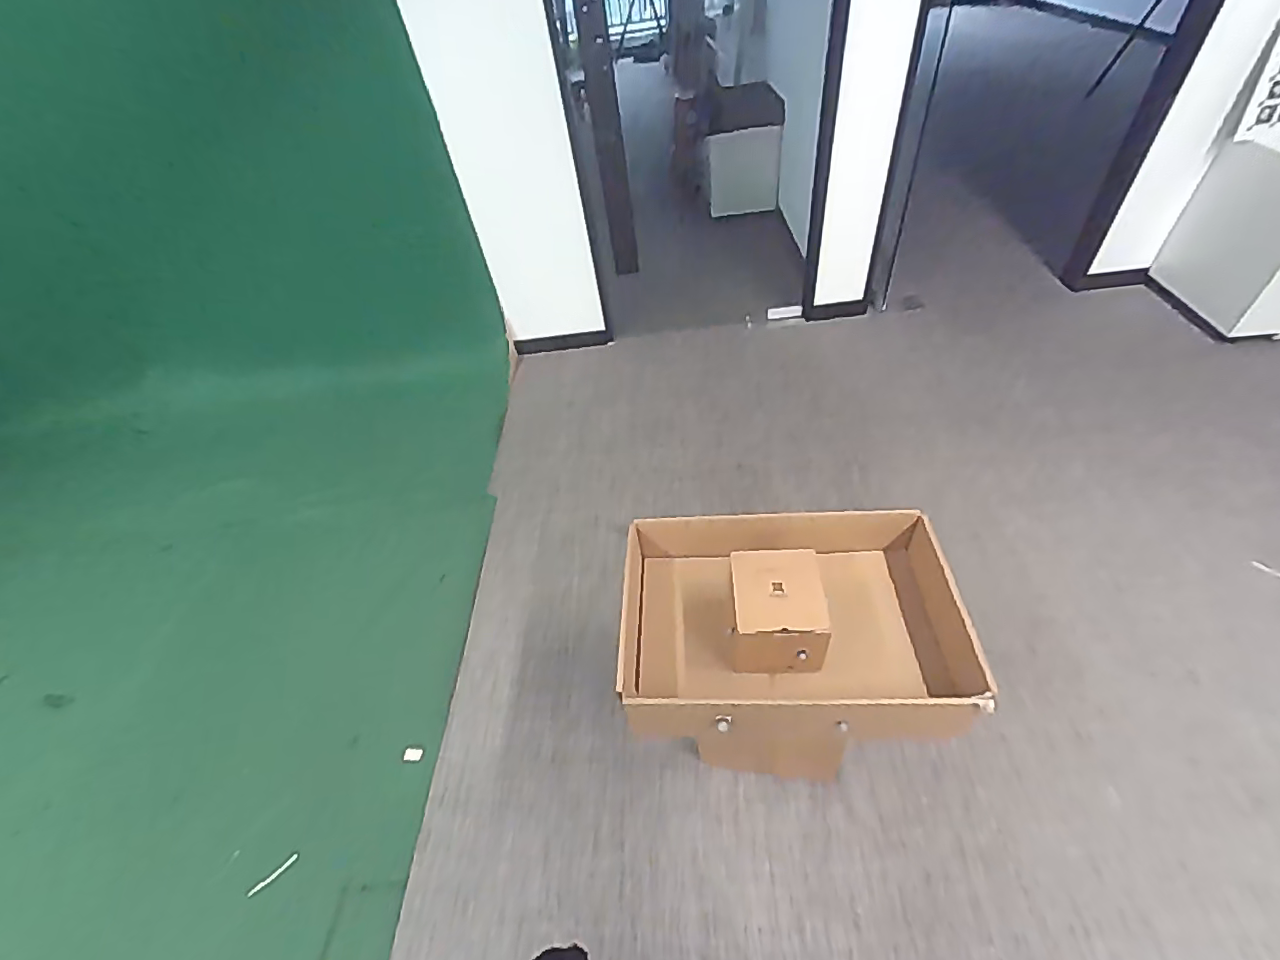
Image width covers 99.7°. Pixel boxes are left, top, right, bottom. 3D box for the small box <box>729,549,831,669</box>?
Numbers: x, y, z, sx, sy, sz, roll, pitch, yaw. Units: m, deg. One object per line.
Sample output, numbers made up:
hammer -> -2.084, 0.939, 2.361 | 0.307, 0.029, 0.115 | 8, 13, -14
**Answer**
small box -> 0.265, 0.256, 1.059 | 0.168, 0.176, 0.179 | -2, 45, 5
